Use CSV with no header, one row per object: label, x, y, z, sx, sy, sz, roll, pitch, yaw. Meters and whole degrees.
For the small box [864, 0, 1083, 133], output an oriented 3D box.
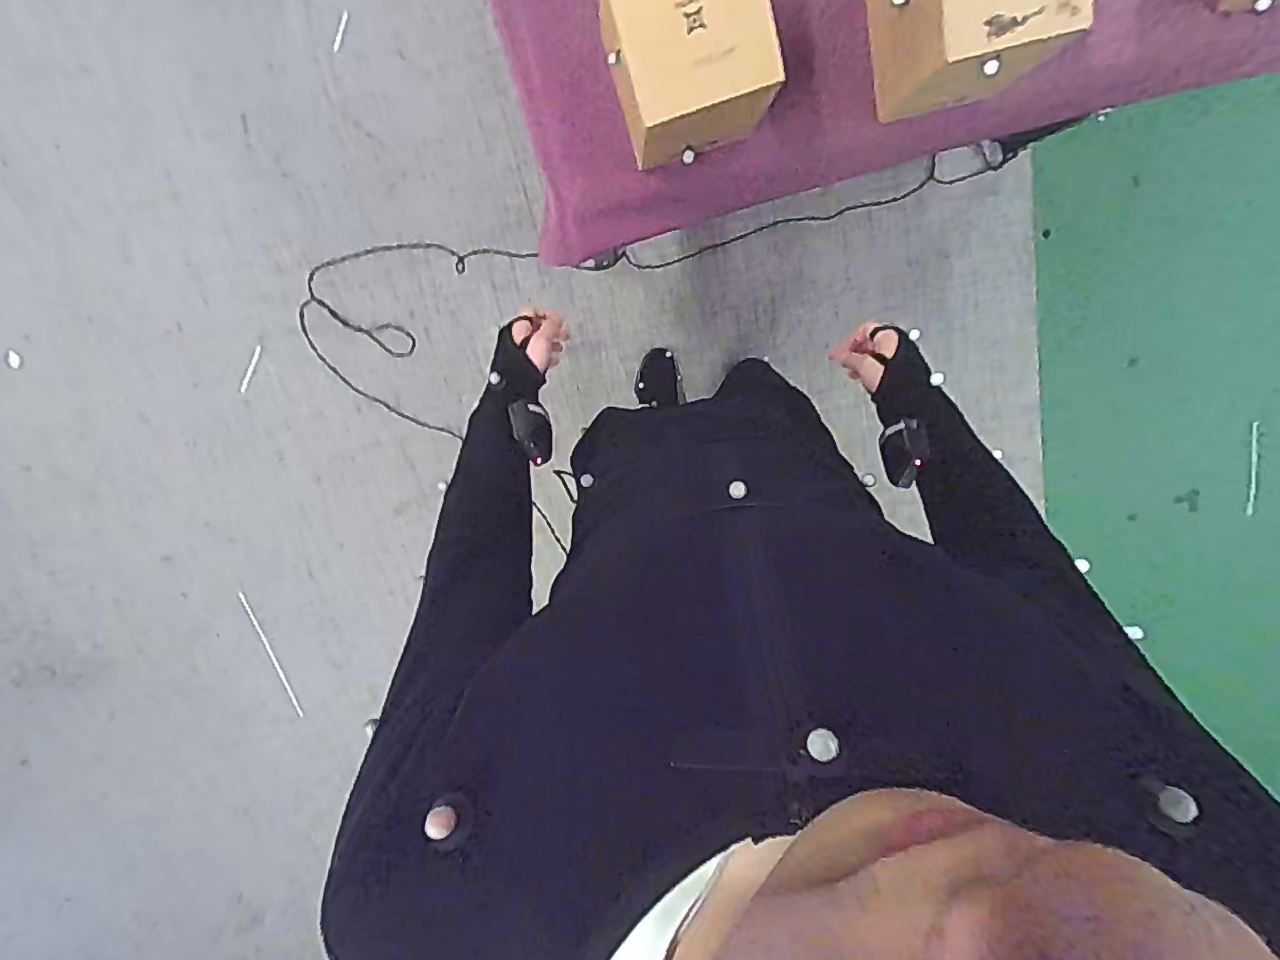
small box,0.395,-0.570,0.666,0.168,0.176,0.179,-13,103,1
